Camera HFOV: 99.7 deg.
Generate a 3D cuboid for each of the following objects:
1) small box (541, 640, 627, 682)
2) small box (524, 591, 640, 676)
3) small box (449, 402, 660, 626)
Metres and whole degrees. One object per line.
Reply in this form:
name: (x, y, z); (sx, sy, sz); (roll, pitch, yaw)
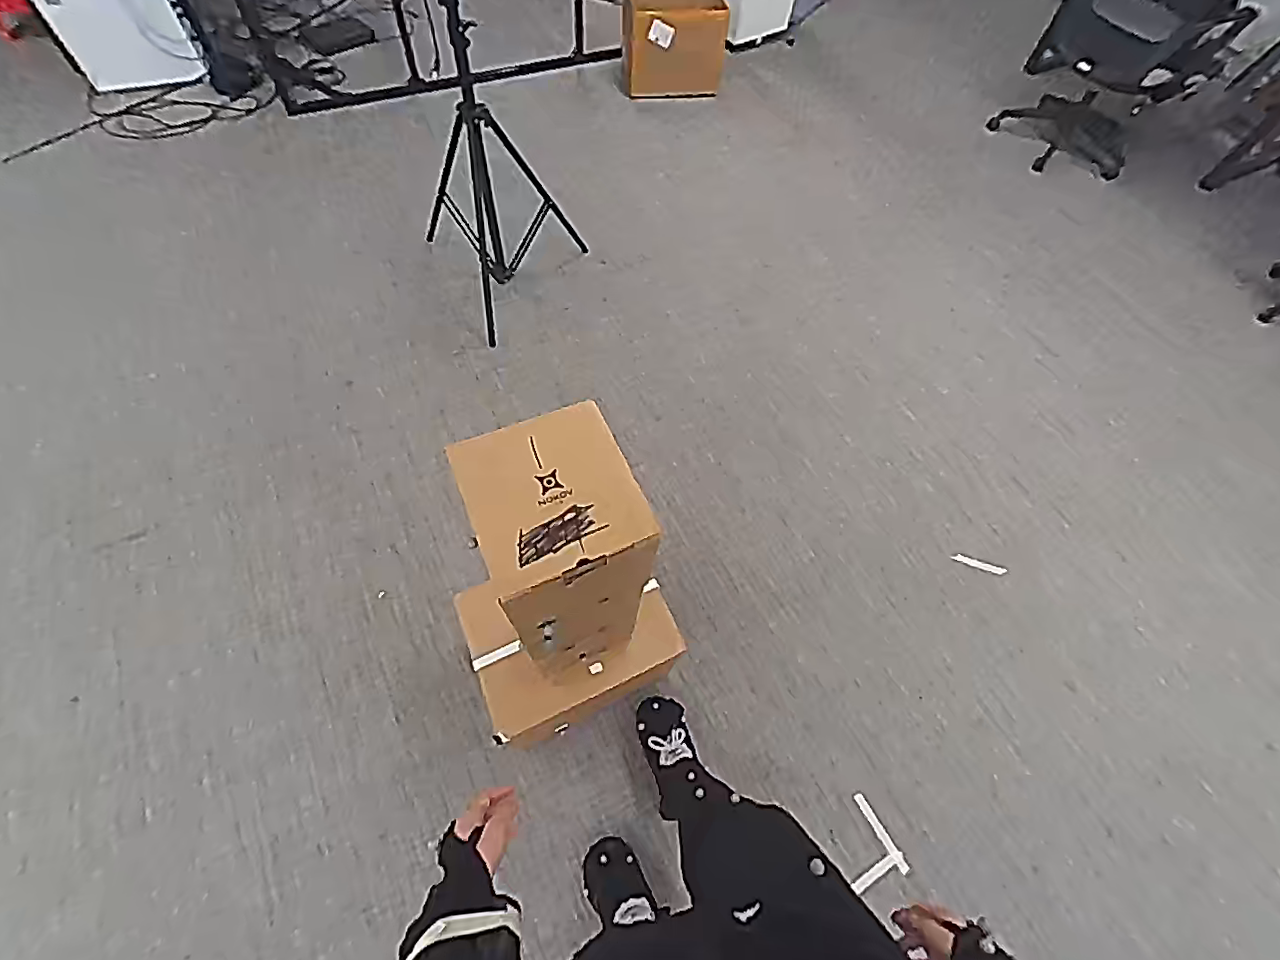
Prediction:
small box: (-0.127, 0.270, 1.043); (0.179, 0.176, 0.168); (-23, 67, -17)
small box: (-0.116, 0.201, 0.897); (0.168, 0.176, 0.179); (-23, 67, -16)
small box: (-0.091, 0.049, 0.607); (0.168, 0.176, 0.179); (-21, 65, -15)
